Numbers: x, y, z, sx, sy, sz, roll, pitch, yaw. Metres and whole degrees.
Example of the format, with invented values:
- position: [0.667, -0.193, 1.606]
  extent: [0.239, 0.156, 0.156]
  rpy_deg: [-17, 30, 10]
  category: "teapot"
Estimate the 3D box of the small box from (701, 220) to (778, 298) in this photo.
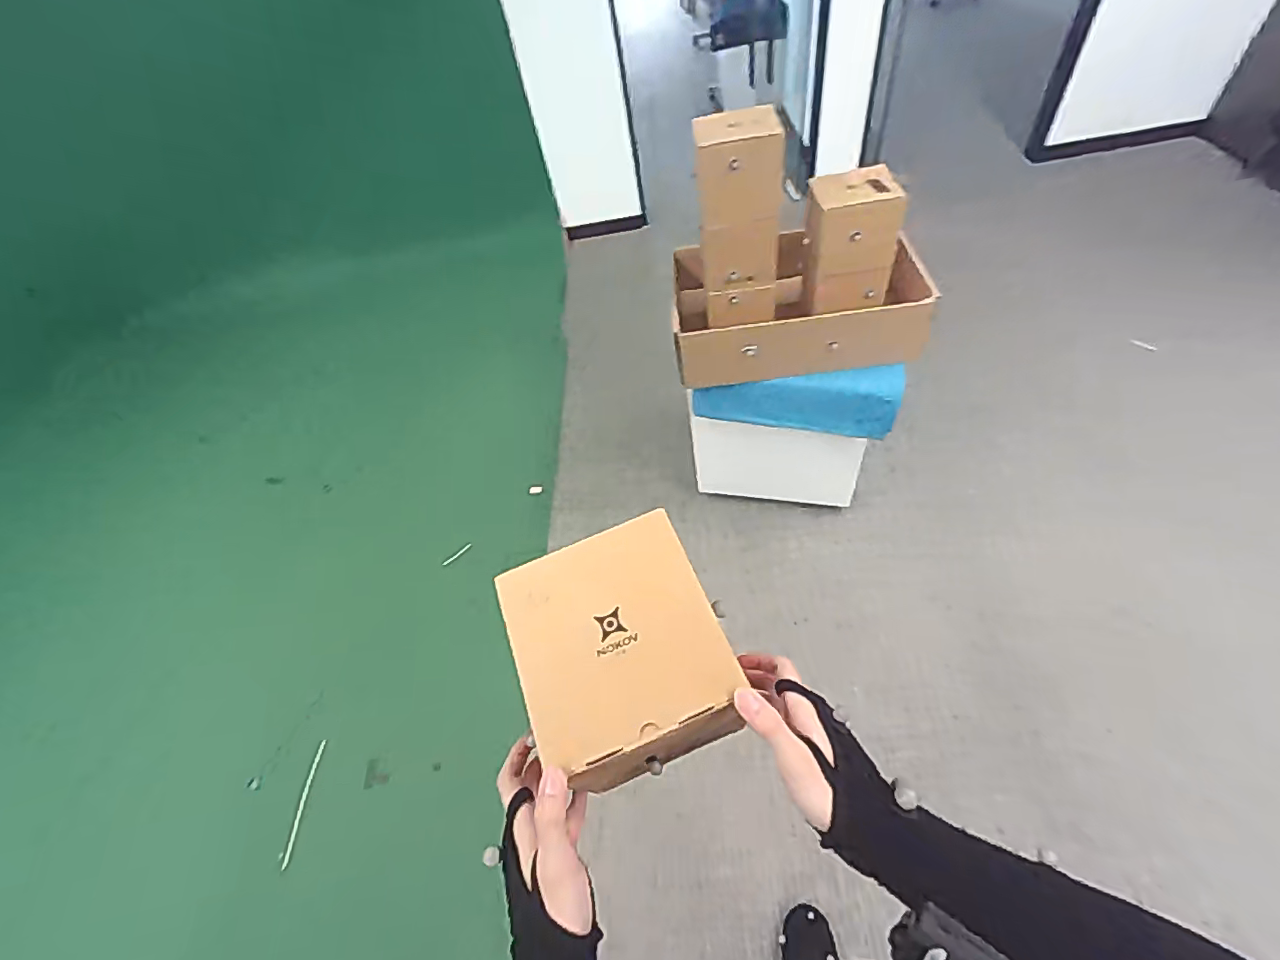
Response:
- position: [0.236, -0.569, 1.315]
  extent: [0.168, 0.176, 0.179]
  rpy_deg: [-6, 50, 6]
  category: "small box"

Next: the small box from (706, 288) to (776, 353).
- position: [0.262, -0.462, 1.435]
  extent: [0.168, 0.176, 0.179]
  rpy_deg: [-6, 49, 7]
  category: "small box"

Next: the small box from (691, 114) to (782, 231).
- position: [0.211, -0.668, 1.187]
  extent: [0.179, 0.176, 0.168]
  rpy_deg: [-5, 50, 7]
  category: "small box"

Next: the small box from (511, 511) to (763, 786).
- position: [-0.002, 0.163, 0.508]
  extent: [0.168, 0.176, 0.179]
  rpy_deg: [-21, 58, -5]
  category: "small box"

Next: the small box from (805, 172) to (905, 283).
- position: [0.497, -0.593, 1.278]
  extent: [0.179, 0.176, 0.168]
  rpy_deg: [-7, 50, 8]
  category: "small box"
